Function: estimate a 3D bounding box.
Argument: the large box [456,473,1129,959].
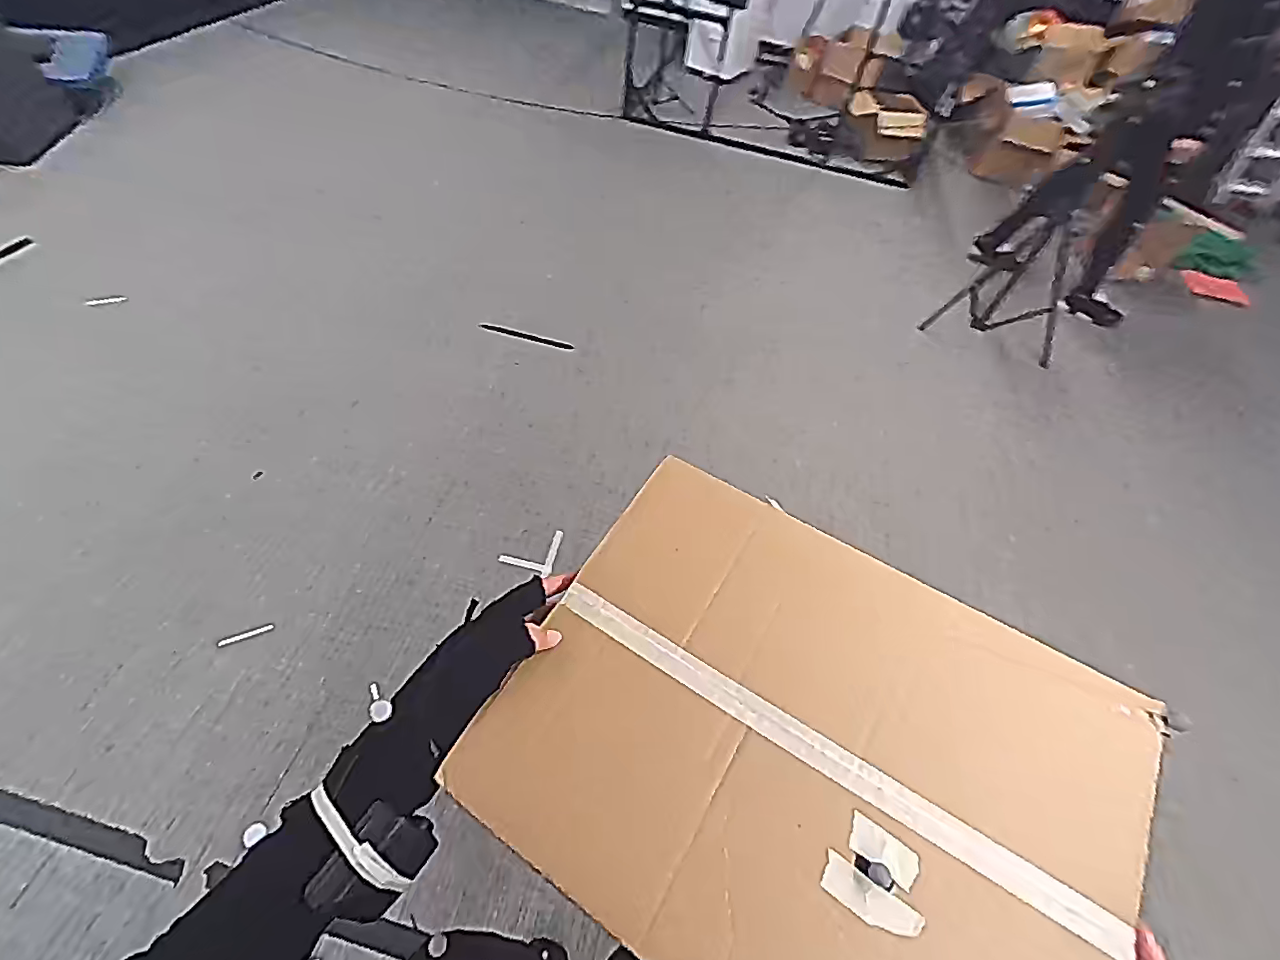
[{"bbox_3d":[0.115,0.264,0.515,0.408,0.320,0.320,28,64,17],"label":"large box"}]
